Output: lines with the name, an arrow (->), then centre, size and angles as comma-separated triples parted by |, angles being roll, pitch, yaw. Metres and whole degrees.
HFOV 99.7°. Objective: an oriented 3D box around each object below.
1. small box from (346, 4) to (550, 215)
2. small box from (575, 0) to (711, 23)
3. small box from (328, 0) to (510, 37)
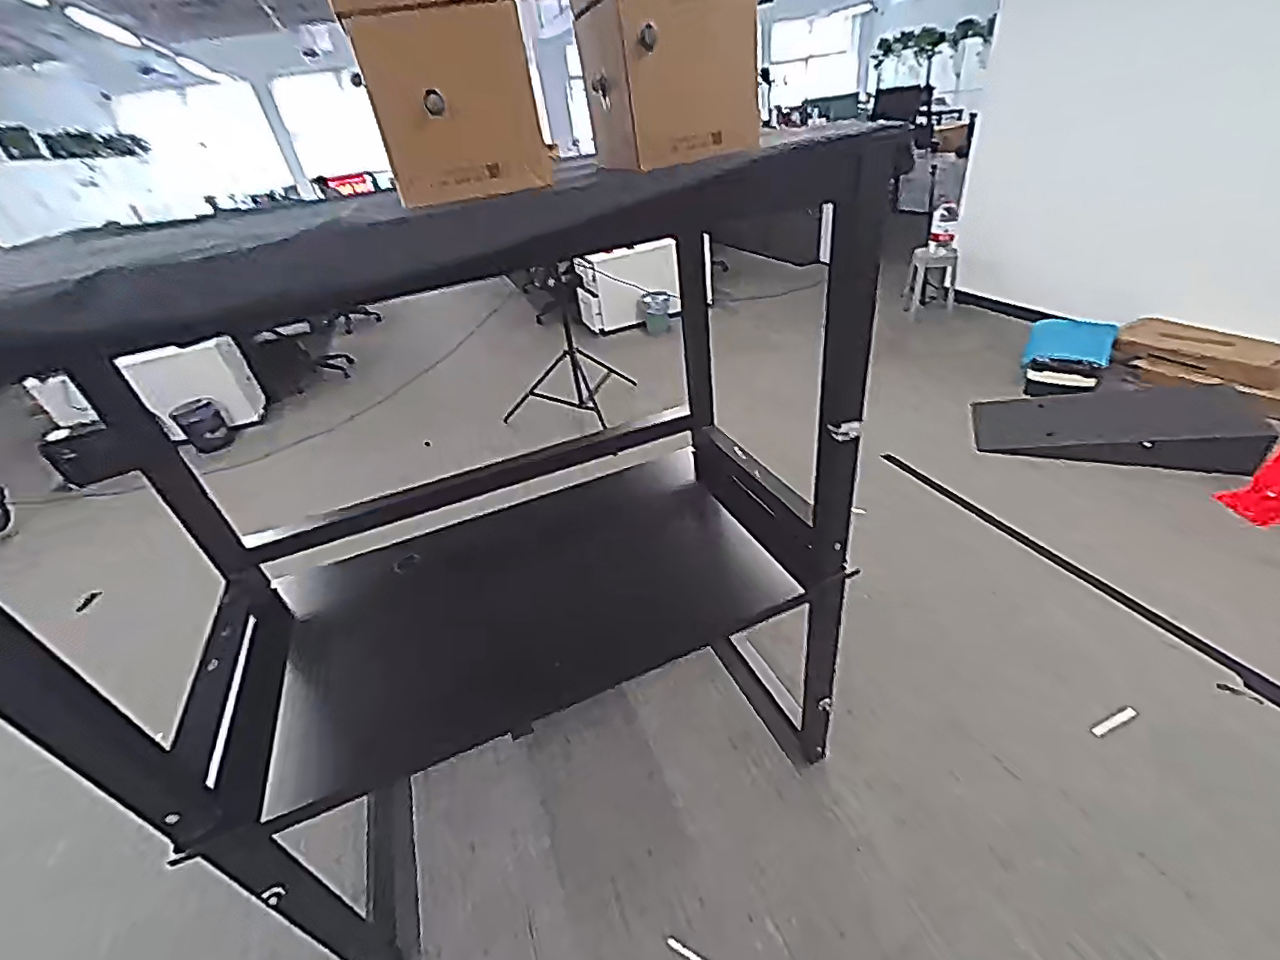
small box -> -0.212, -0.415, 0.627 | 0.168, 0.176, 0.179 | -17, 33, -12
small box -> 0.013, -0.620, 0.581 | 0.179, 0.176, 0.168 | -19, 33, -13
small box -> -0.232, -0.546, 0.530 | 0.179, 0.176, 0.168 | -18, 33, -10
